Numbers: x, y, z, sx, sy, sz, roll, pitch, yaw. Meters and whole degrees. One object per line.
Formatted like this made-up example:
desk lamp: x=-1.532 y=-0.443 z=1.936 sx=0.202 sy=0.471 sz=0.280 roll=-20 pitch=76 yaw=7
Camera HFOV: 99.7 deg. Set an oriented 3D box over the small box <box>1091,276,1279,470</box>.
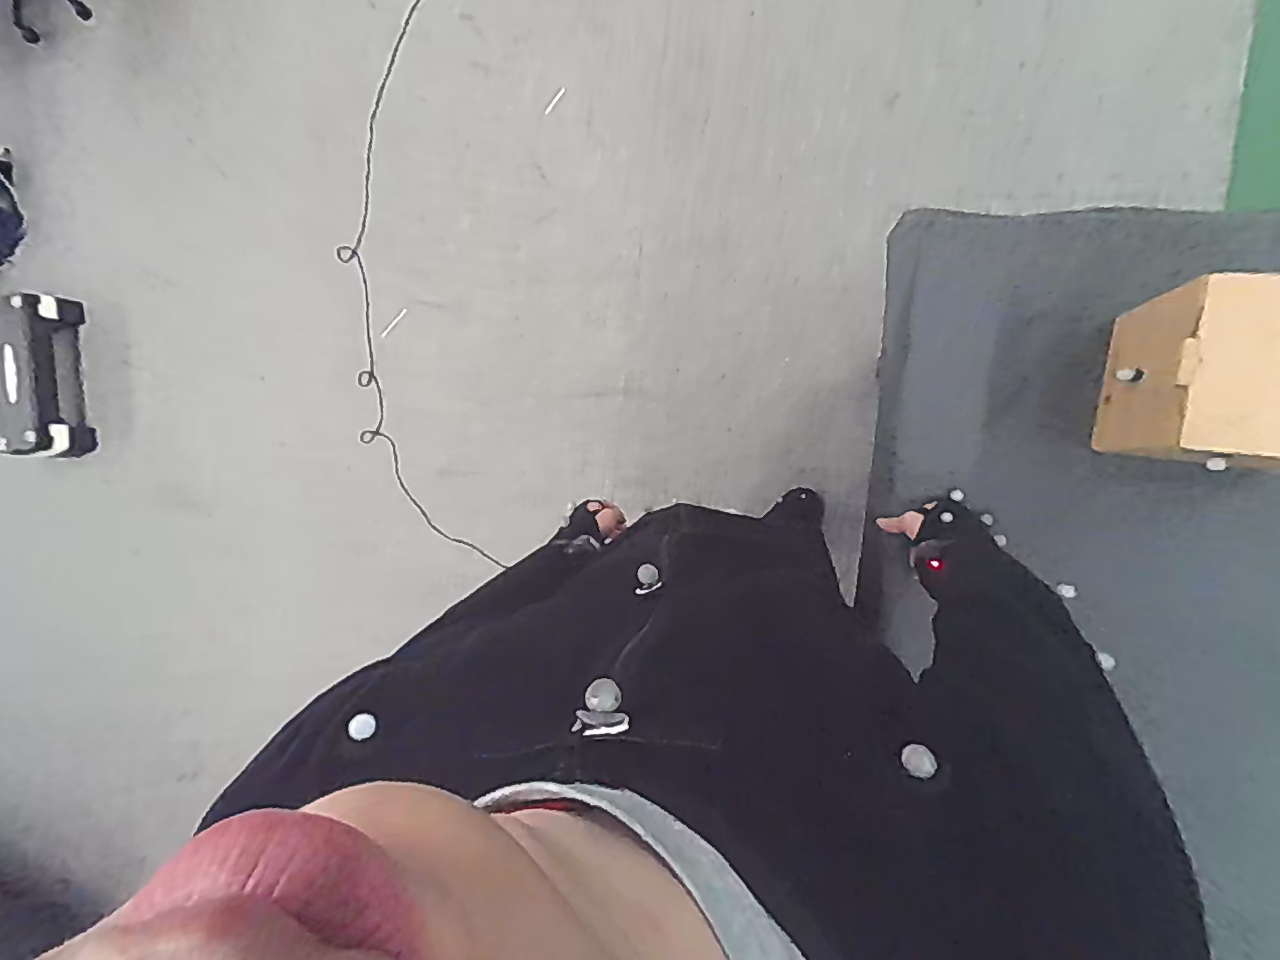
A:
small box: x=0.618 y=-0.101 z=0.563 sx=0.179 sy=0.176 sz=0.168 roll=9 pitch=95 yaw=18
